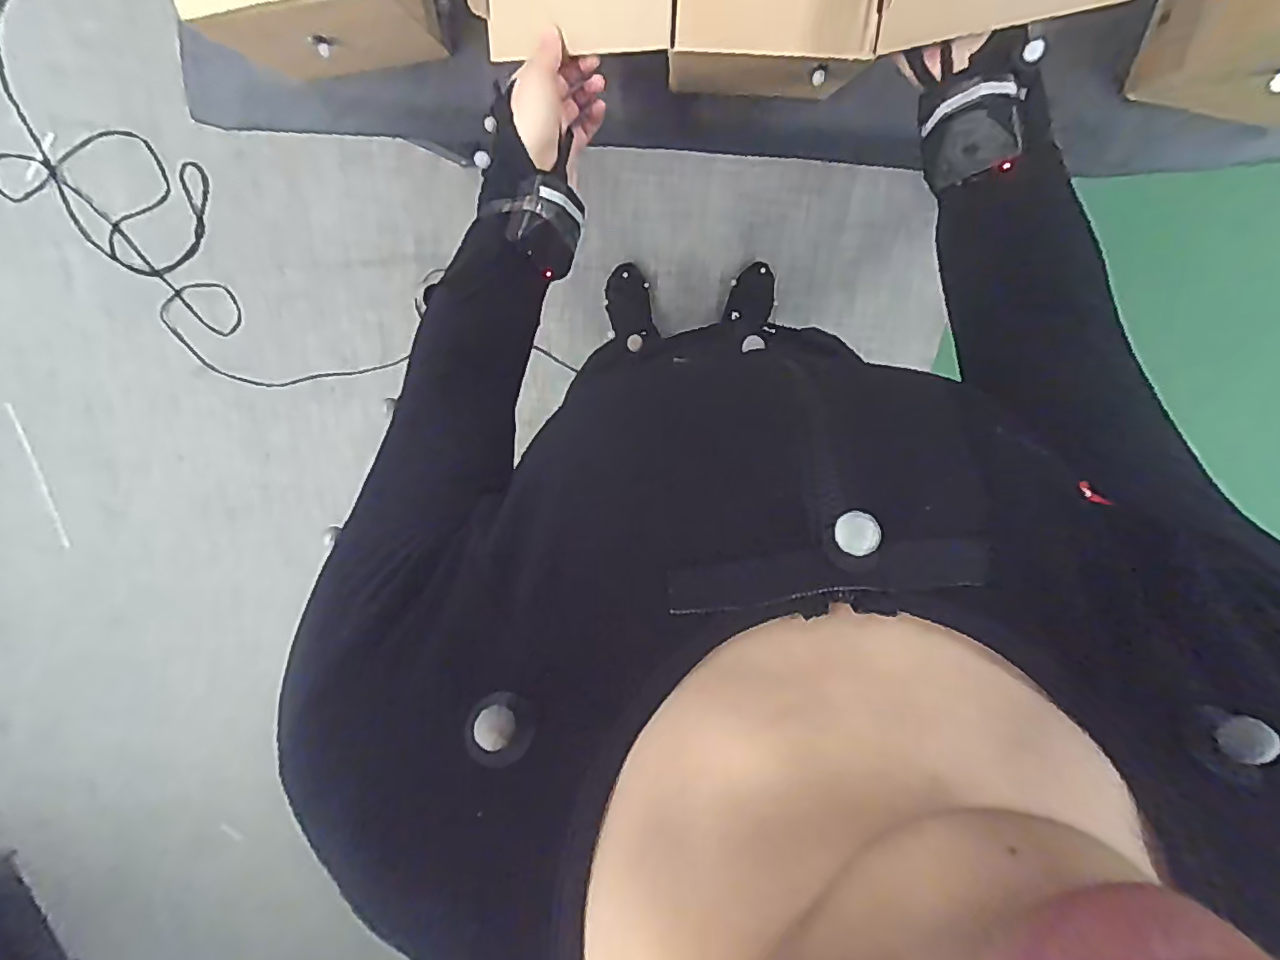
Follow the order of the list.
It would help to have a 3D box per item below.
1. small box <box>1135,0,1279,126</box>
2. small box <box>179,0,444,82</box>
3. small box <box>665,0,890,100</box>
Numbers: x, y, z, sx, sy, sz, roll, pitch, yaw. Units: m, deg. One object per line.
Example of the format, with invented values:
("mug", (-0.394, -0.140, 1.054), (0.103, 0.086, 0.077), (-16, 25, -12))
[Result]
("small box", (0.602, -0.433, 0.467), (0.179, 0.176, 0.168), (10, 108, -1))
("small box", (-0.294, -0.484, 0.481), (0.179, 0.176, 0.168), (-6, 113, 5))
("small box", (0.114, -0.451, 0.478), (0.179, 0.176, 0.168), (2, 116, 2))
